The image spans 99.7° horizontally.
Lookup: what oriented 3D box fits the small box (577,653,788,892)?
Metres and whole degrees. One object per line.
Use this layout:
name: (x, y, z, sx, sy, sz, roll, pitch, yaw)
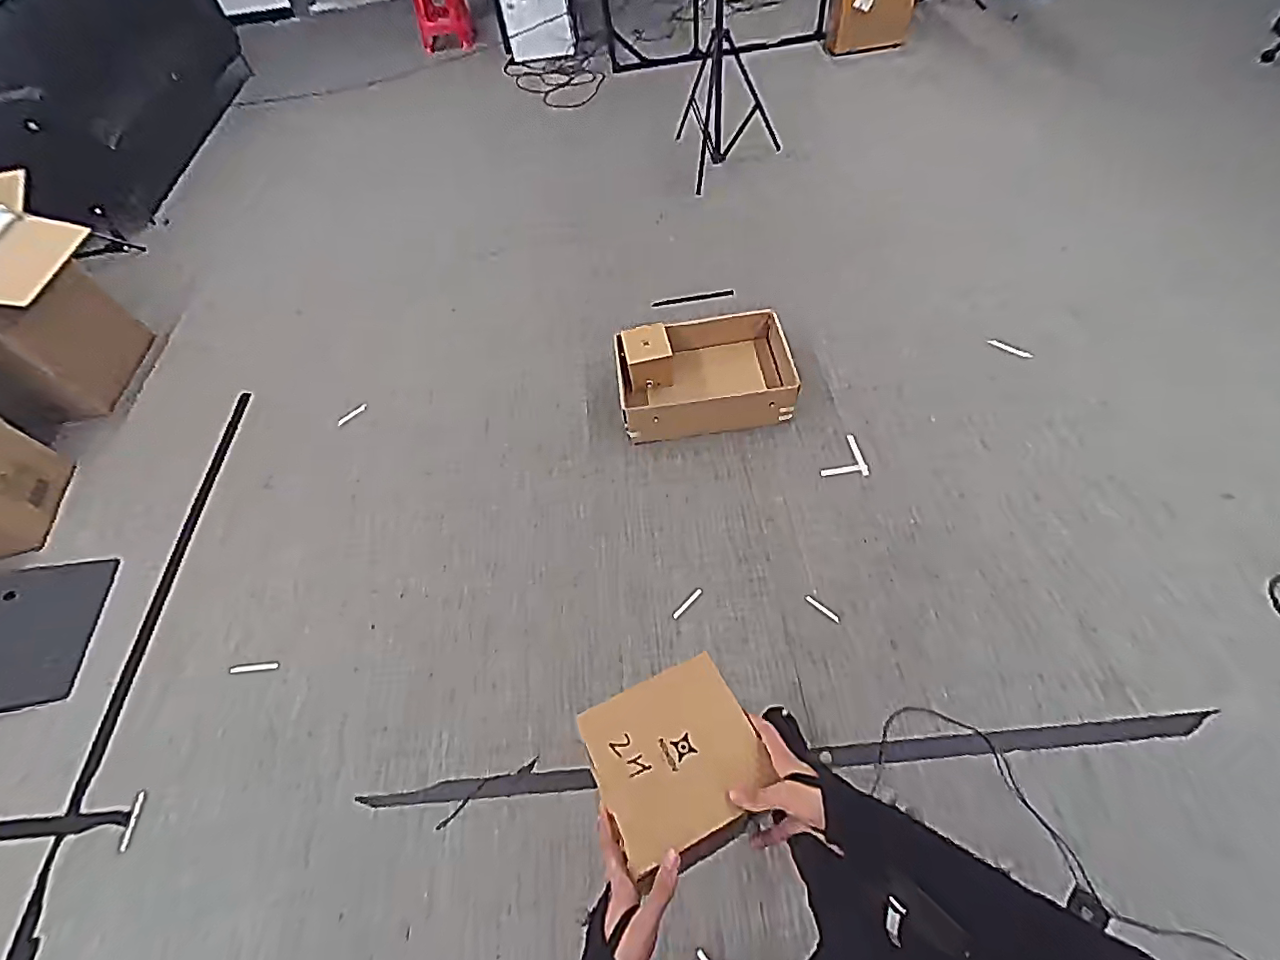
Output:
small box: (0.042, 0.340, 0.631, 0.179, 0.176, 0.168, -21, 49, -16)
